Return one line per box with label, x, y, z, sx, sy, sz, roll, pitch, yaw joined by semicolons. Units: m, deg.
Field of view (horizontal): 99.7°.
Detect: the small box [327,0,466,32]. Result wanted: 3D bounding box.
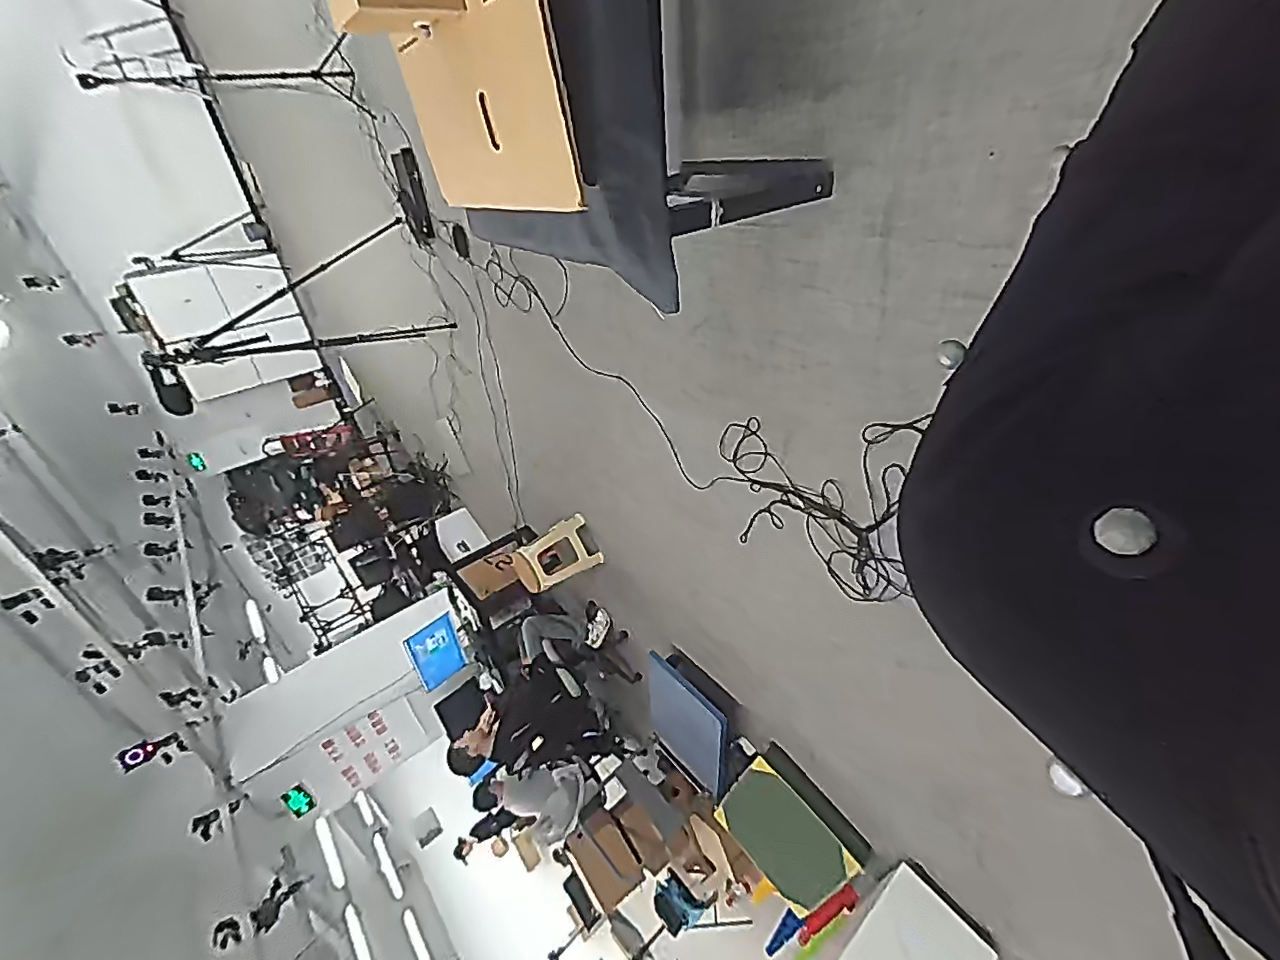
small box;-0.394;-0.818;0.832;0.168;0.176;0.179;31;138;46
